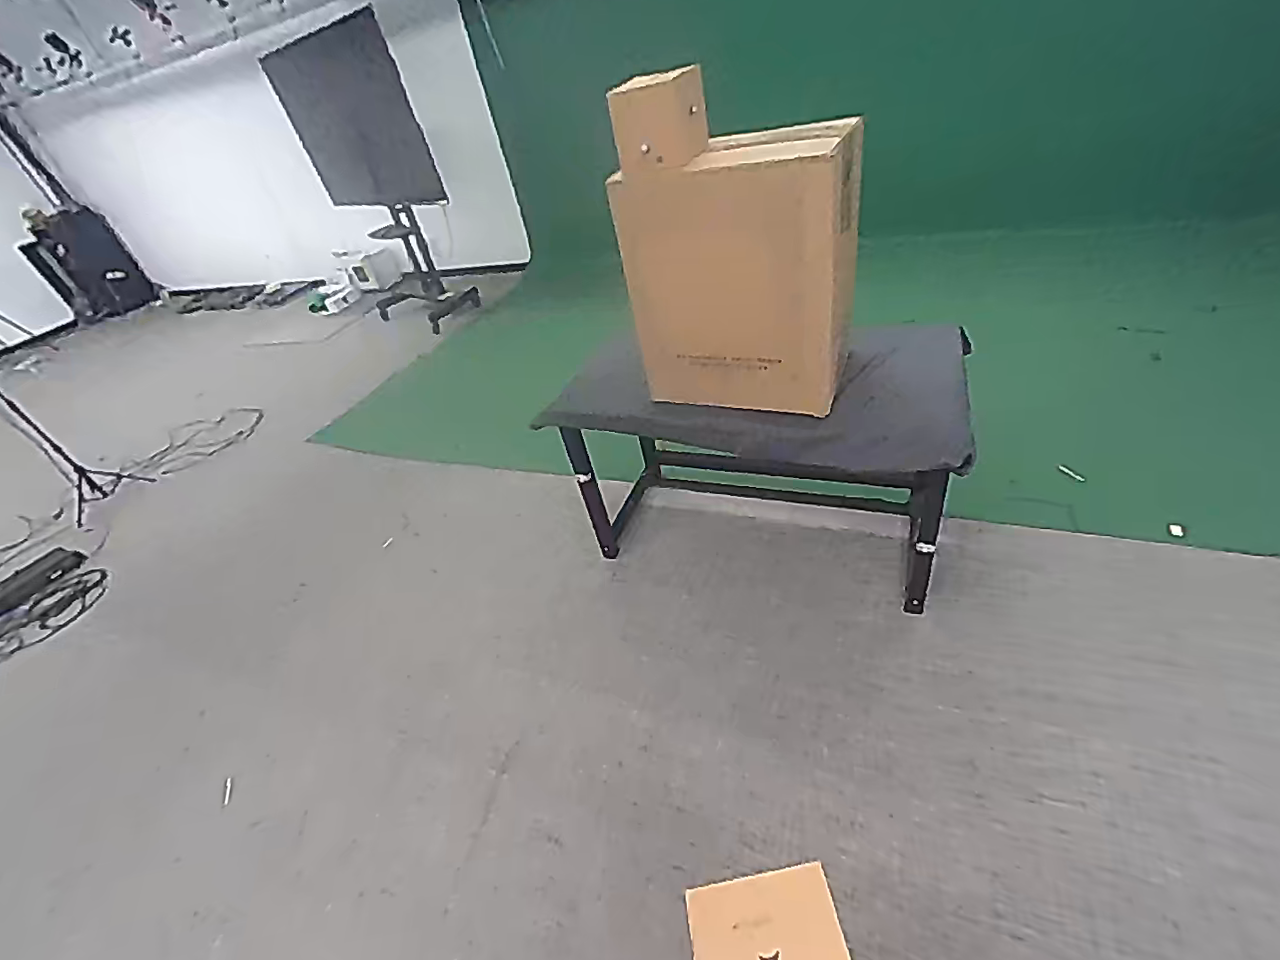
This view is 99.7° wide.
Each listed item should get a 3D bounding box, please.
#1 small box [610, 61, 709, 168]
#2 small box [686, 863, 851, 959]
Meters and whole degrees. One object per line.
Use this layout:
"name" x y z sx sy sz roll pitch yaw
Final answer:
"small box" 0.054 -0.846 1.260 0.168 0.176 0.179 10 46 28
"small box" 0.161 0.578 0.612 0.168 0.176 0.179 -16 36 3
